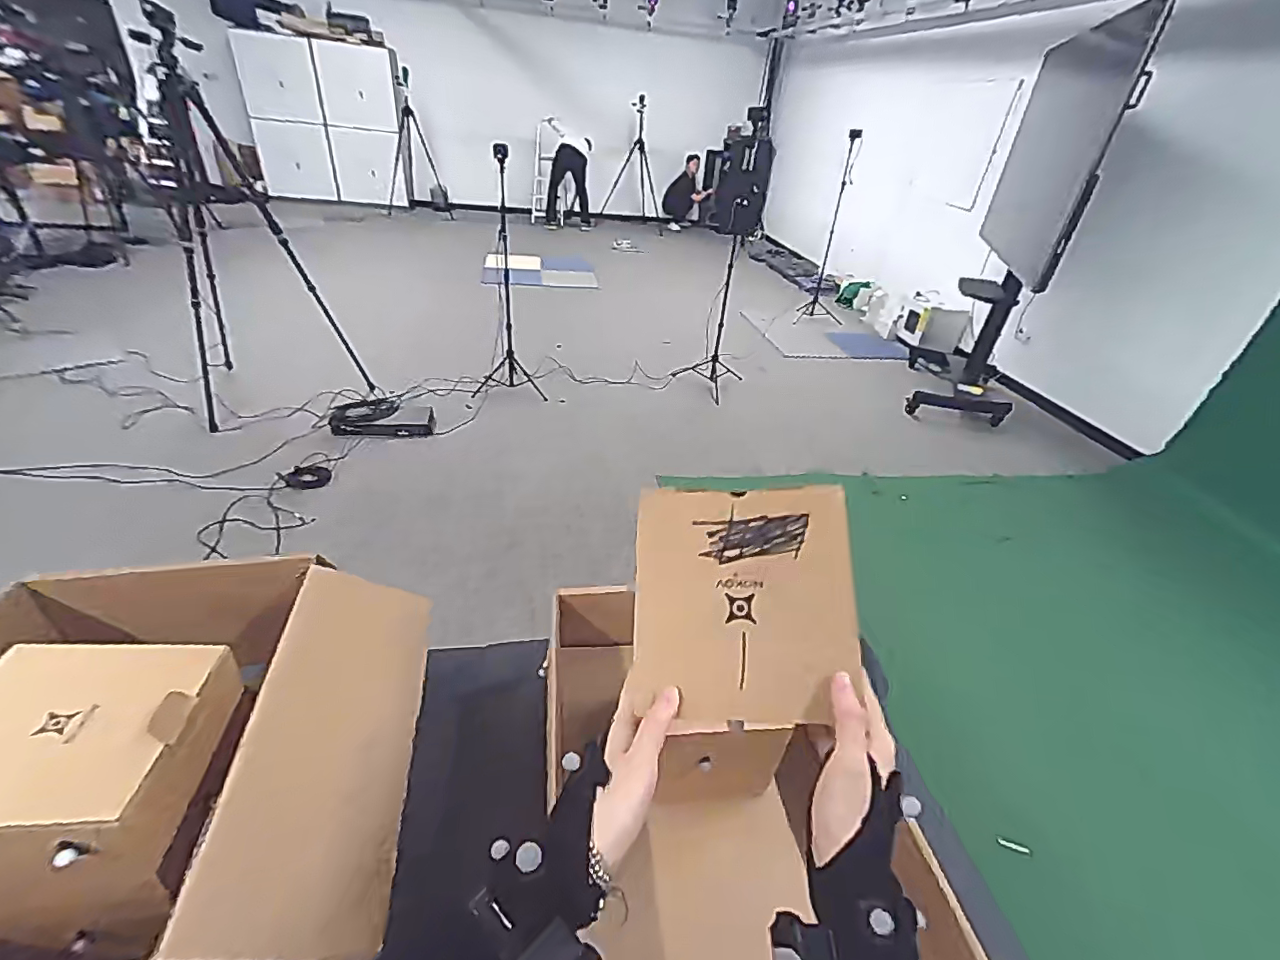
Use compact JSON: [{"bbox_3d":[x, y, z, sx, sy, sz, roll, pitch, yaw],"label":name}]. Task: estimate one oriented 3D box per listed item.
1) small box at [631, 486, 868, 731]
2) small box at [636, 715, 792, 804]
[{"bbox_3d":[0.088,0.113,0.476,0.168,0.176,0.179,-2,72,9],"label":"small box"},{"bbox_3d":[0.086,0.324,0.749,0.179,0.176,0.168,-1,36,-8],"label":"small box"}]
